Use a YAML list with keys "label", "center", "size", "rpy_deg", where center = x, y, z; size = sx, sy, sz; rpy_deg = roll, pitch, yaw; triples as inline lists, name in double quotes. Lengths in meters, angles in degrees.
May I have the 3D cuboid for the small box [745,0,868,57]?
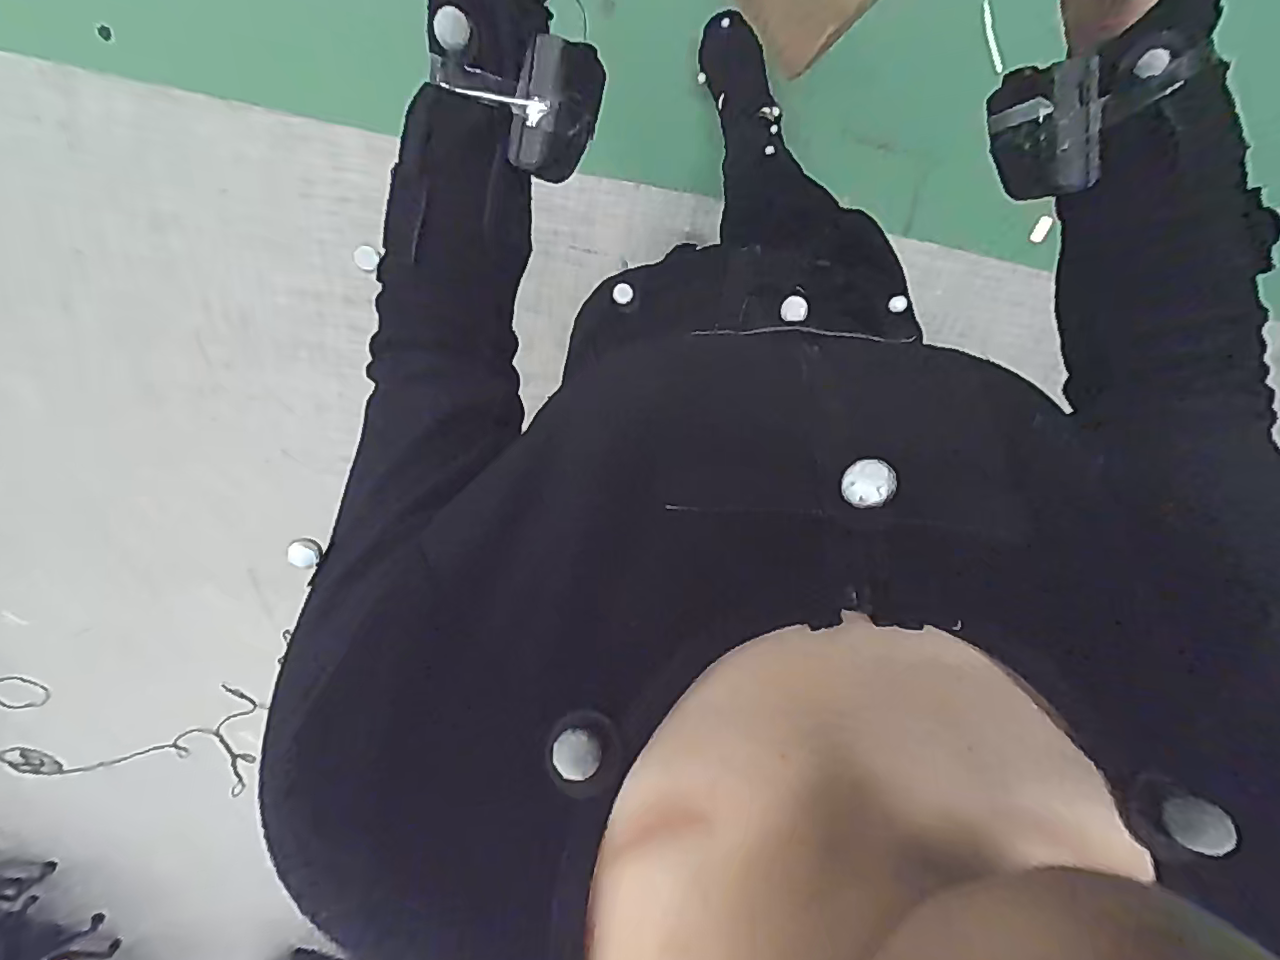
- label: "small box"
  center: [0.085, -0.293, 0.177]
  size: [0.179, 0.176, 0.168]
  rpy_deg: [-37, 108, 21]
